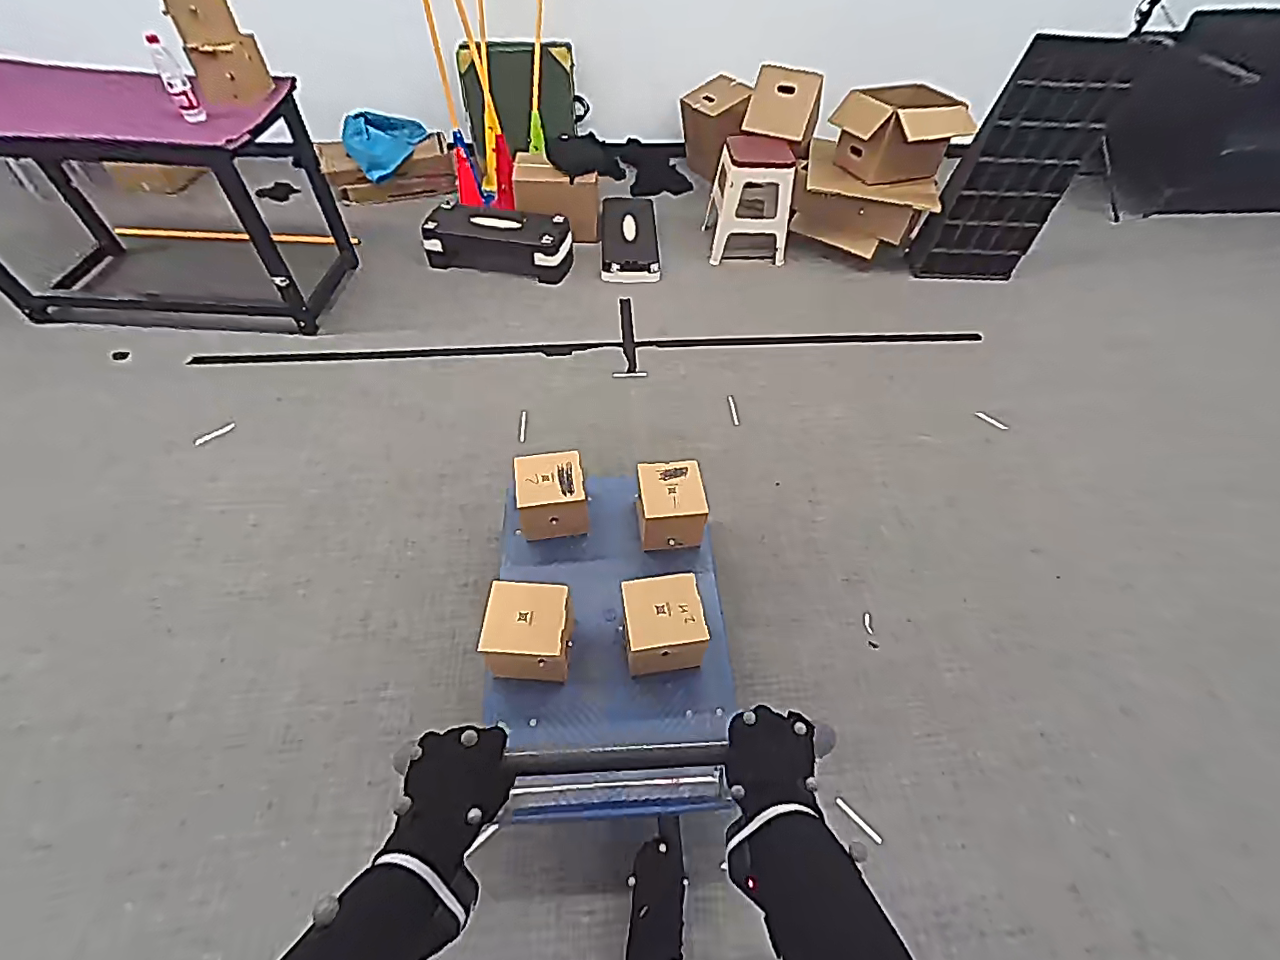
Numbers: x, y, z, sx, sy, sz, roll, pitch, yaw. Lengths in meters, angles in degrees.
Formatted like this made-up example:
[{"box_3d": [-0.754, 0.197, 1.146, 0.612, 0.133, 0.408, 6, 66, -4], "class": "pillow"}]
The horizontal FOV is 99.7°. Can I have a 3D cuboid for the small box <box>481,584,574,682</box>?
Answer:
[{"box_3d": [-0.250, 0.357, 1.250, 0.179, 0.176, 0.168, 4, 52, -1], "class": "small box"}]

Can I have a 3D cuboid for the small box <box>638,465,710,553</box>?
[{"box_3d": [0.085, 0.080, 1.476, 0.168, 0.176, 0.179, -4, 54, -6], "class": "small box"}]

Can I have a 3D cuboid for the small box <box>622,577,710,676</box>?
[{"box_3d": [0.054, 0.348, 1.271, 0.179, 0.176, 0.168, -6, 54, -7], "class": "small box"}]
